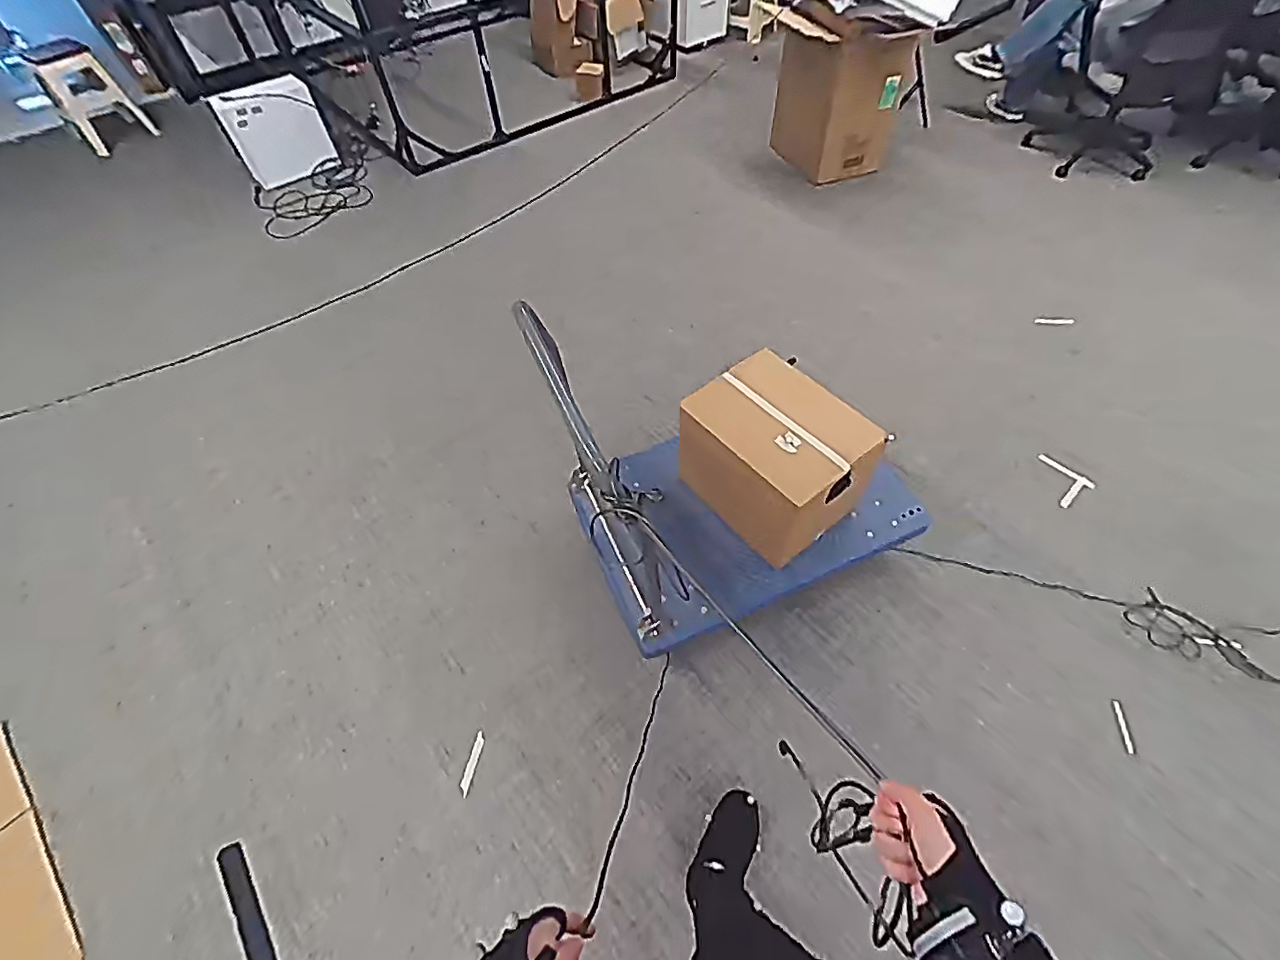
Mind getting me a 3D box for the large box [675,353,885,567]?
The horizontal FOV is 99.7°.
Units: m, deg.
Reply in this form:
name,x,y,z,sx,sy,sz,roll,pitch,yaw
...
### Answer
name,x,y,z,sx,sy,sz,roll,pitch,yaw
large box,0.335,-0.054,1.420,0.320,0.320,0.408,-35,61,-19
